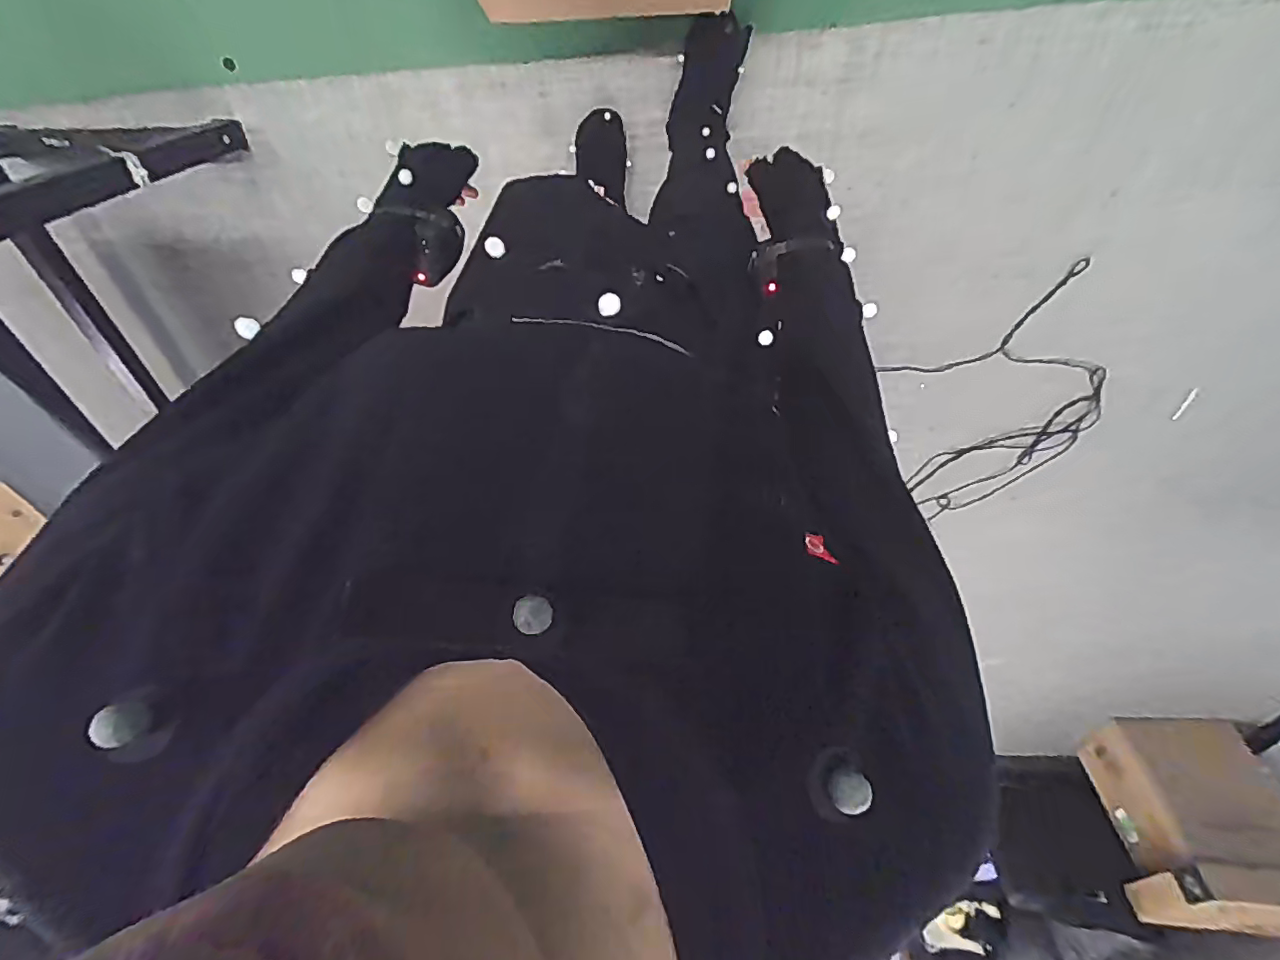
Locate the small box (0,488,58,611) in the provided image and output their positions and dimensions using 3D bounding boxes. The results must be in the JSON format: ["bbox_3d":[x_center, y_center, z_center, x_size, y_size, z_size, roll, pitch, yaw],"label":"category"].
[{"bbox_3d":[-1.157,0.116,0.905,0.179,0.176,0.168,-1,132,6],"label":"small box"}]
